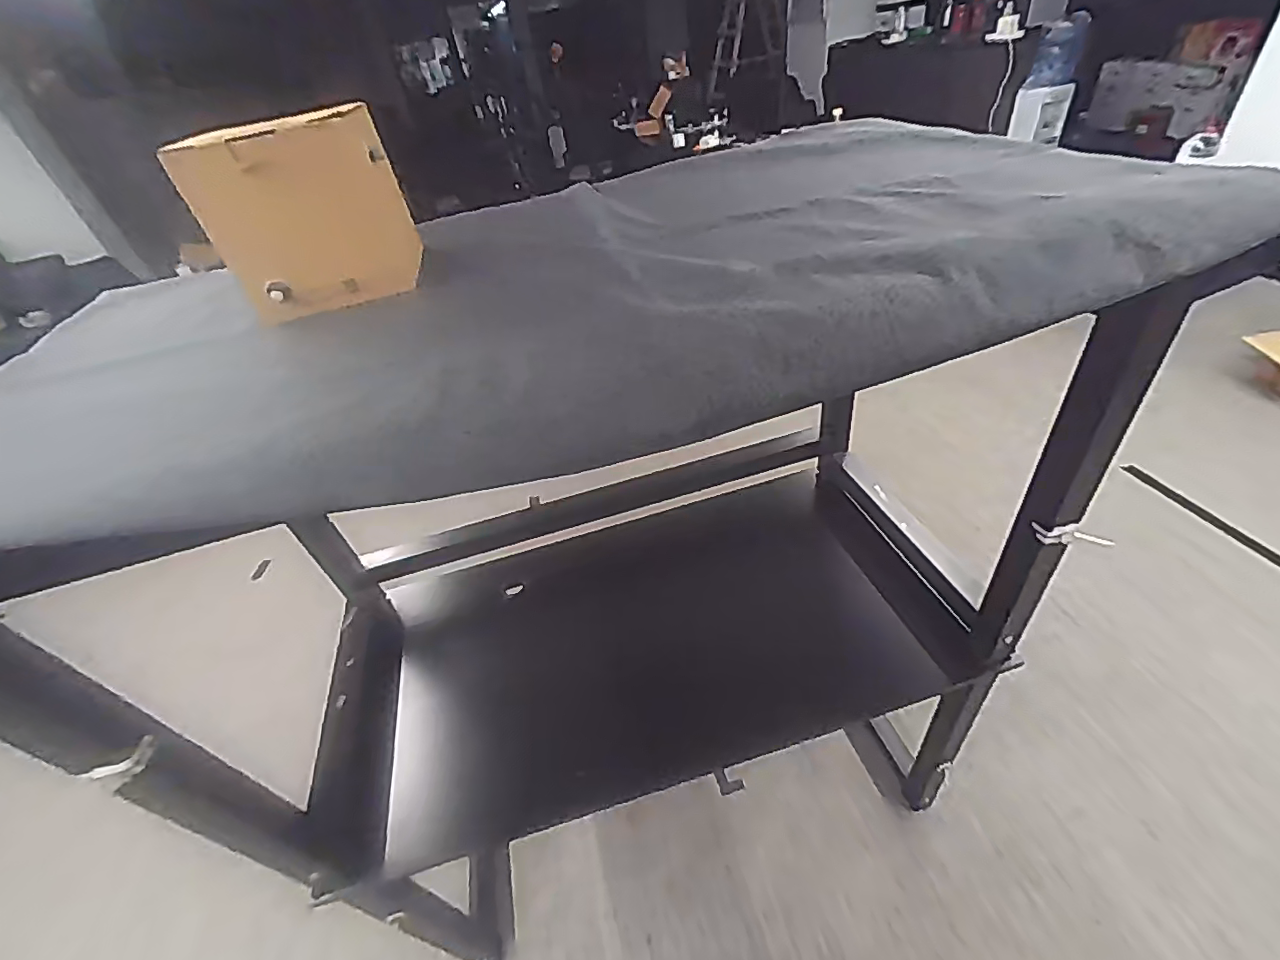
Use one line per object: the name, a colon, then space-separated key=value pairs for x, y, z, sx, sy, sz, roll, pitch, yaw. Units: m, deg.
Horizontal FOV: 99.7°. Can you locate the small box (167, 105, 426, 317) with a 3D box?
small box: x=-0.357 y=-0.299 z=0.609 sx=0.168 sy=0.176 sz=0.179 roll=-16 pitch=39 yaw=-5
